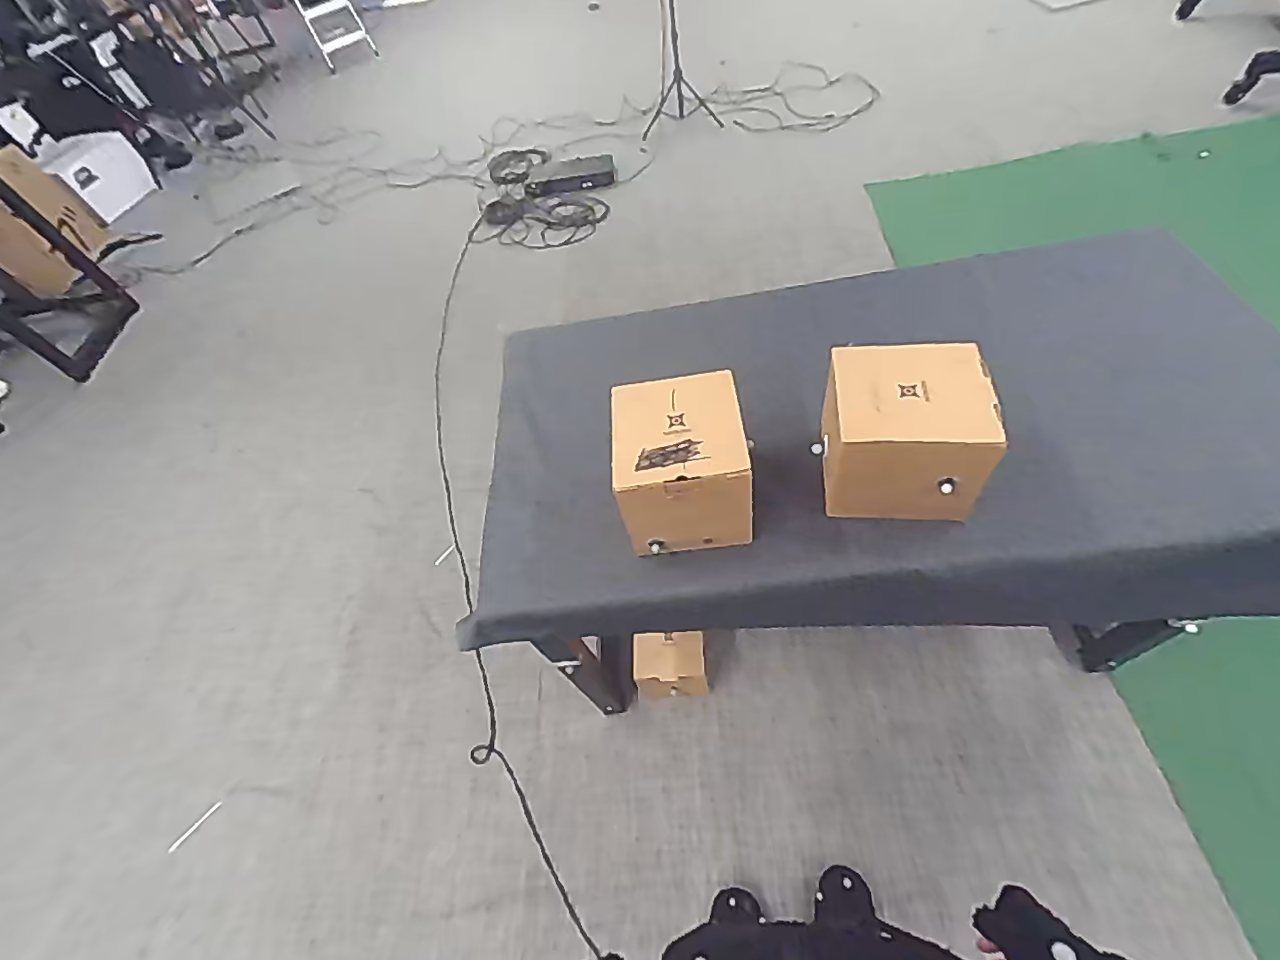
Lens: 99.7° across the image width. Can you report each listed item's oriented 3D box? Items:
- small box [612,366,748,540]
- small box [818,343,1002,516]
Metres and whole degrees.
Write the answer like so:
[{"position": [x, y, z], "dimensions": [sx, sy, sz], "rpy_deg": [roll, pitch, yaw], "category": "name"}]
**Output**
[{"position": [0.058, -0.028, 0.749], "dimensions": [0.168, 0.176, 0.179], "rpy_deg": [-6, 54, 6], "category": "small box"}, {"position": [0.342, -0.062, 0.724], "dimensions": [0.179, 0.176, 0.168], "rpy_deg": [1, 55, 12], "category": "small box"}]
